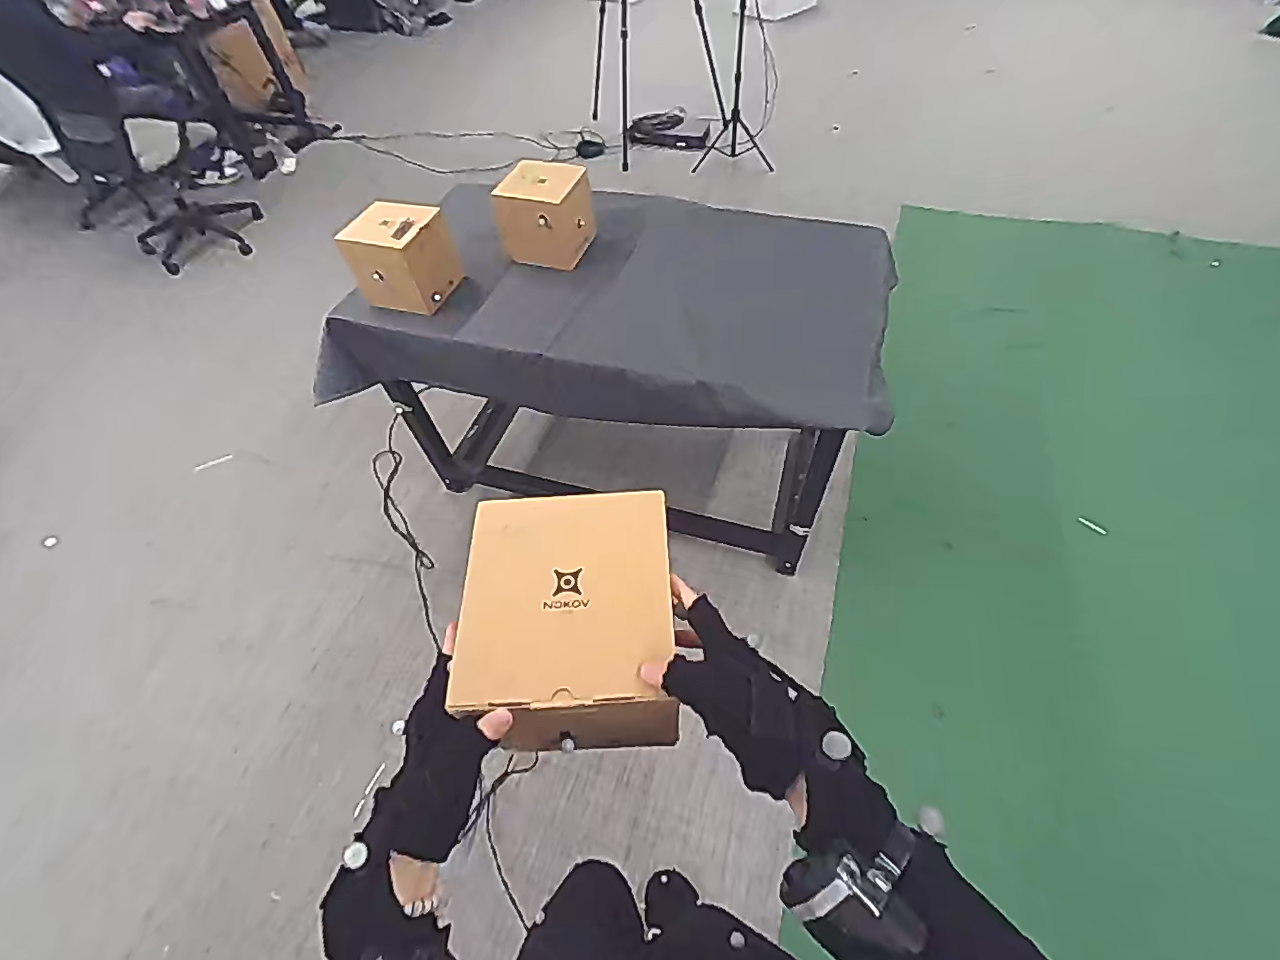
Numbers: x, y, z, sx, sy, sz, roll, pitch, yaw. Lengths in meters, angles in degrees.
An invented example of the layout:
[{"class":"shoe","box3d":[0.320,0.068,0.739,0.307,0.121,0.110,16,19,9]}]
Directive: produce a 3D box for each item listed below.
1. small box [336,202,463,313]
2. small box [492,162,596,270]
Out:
[{"class":"small box","box3d":[-0.532,-0.502,1.231,0.179,0.176,0.168,13,56,14]},{"class":"small box","box3d":[-0.219,-0.630,1.300,0.179,0.176,0.168,15,57,14]}]
